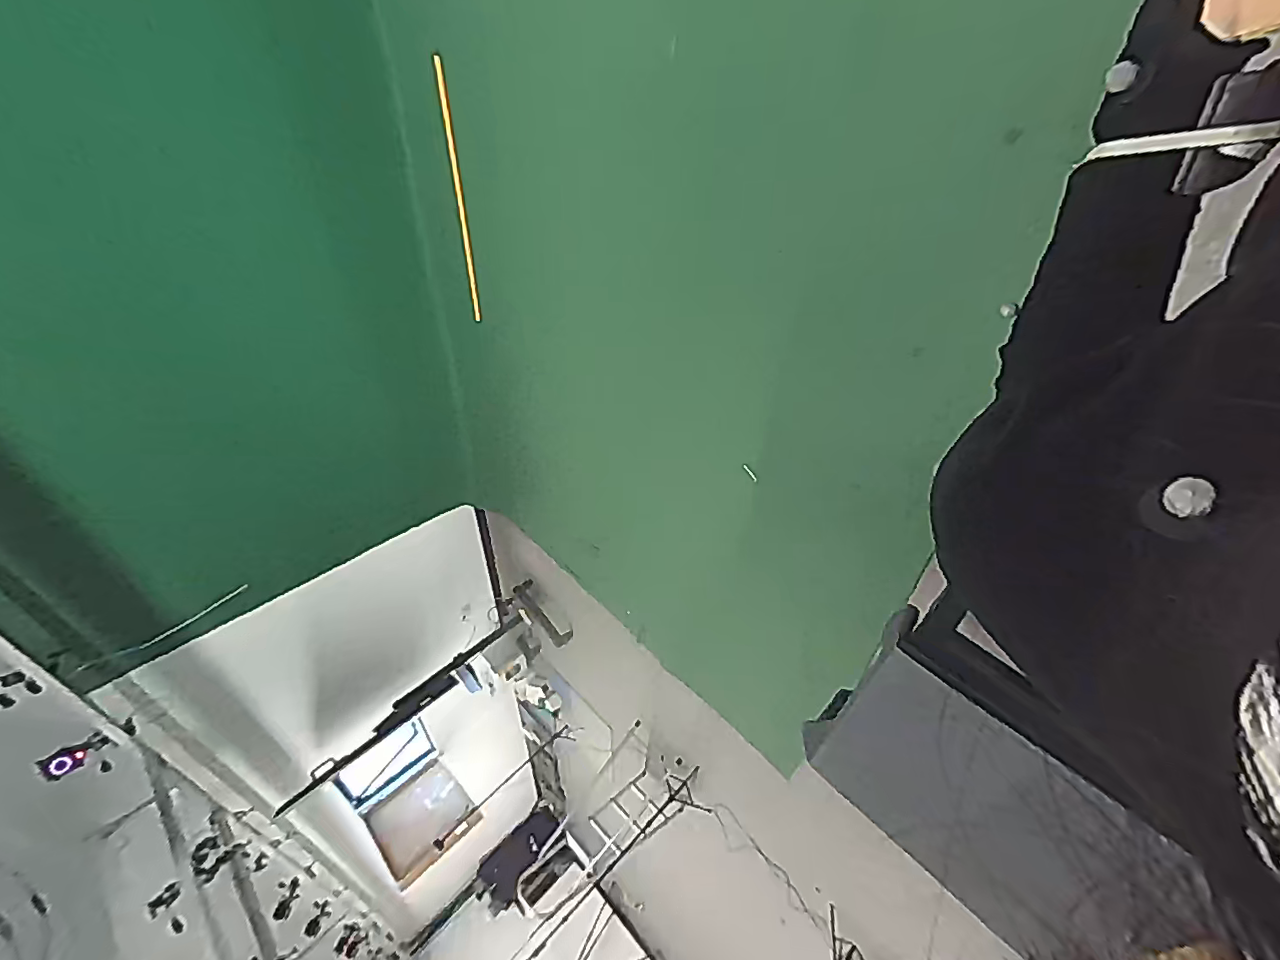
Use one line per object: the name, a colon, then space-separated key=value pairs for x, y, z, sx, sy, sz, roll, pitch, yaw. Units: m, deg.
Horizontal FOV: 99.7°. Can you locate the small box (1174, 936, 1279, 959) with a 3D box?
small box: x=0.884 y=0.800 z=0.760 sx=0.168 sy=0.176 sz=0.179 roll=34 pitch=140 yaw=31
